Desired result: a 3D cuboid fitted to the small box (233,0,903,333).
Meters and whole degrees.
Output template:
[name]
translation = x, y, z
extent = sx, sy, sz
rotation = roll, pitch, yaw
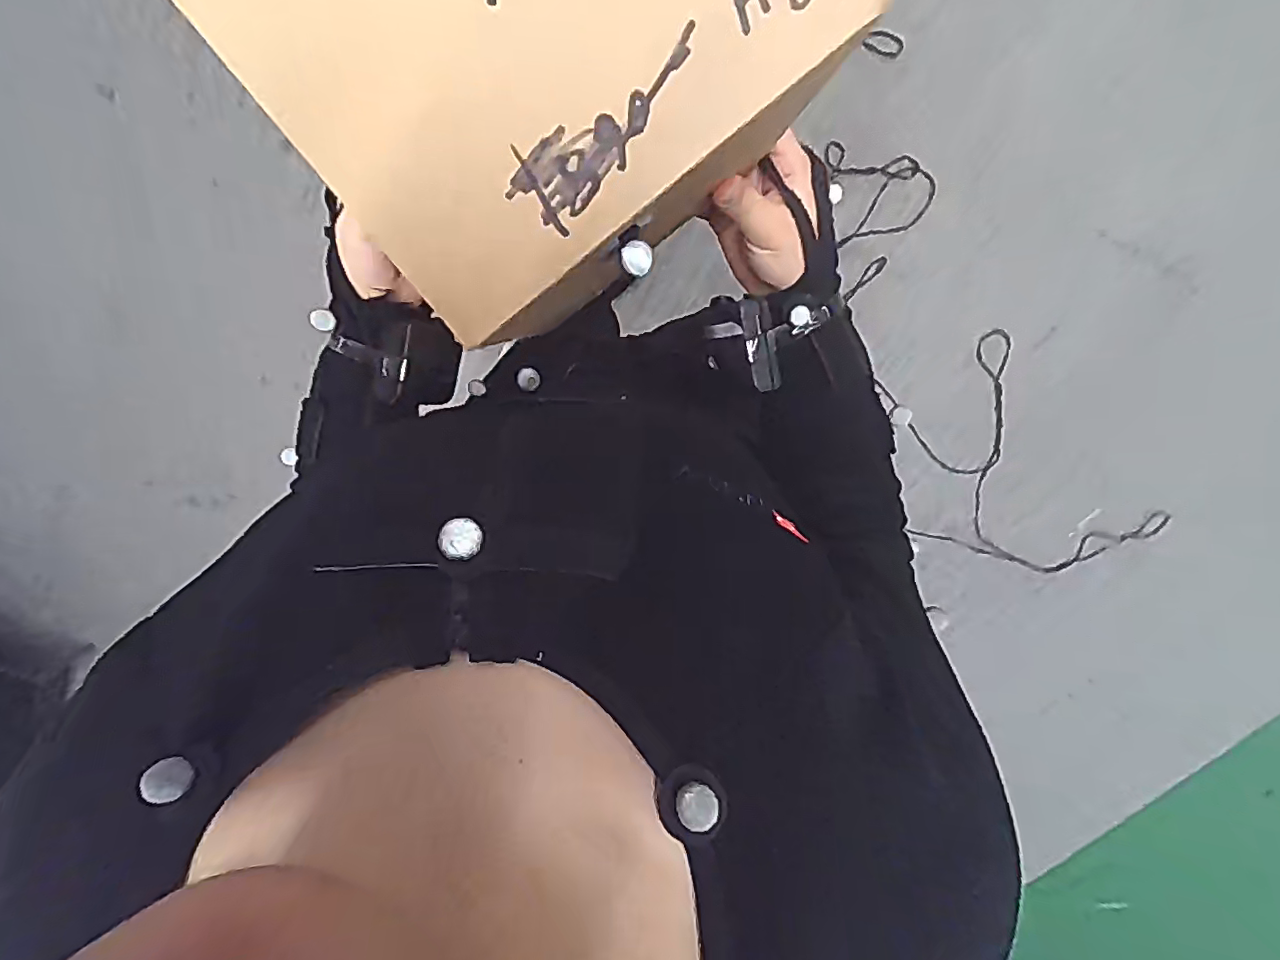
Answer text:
[small box]
translation = -0.035, -0.183, 0.233
extent = 0.168, 0.176, 0.179
rotation = -35, 105, 10
